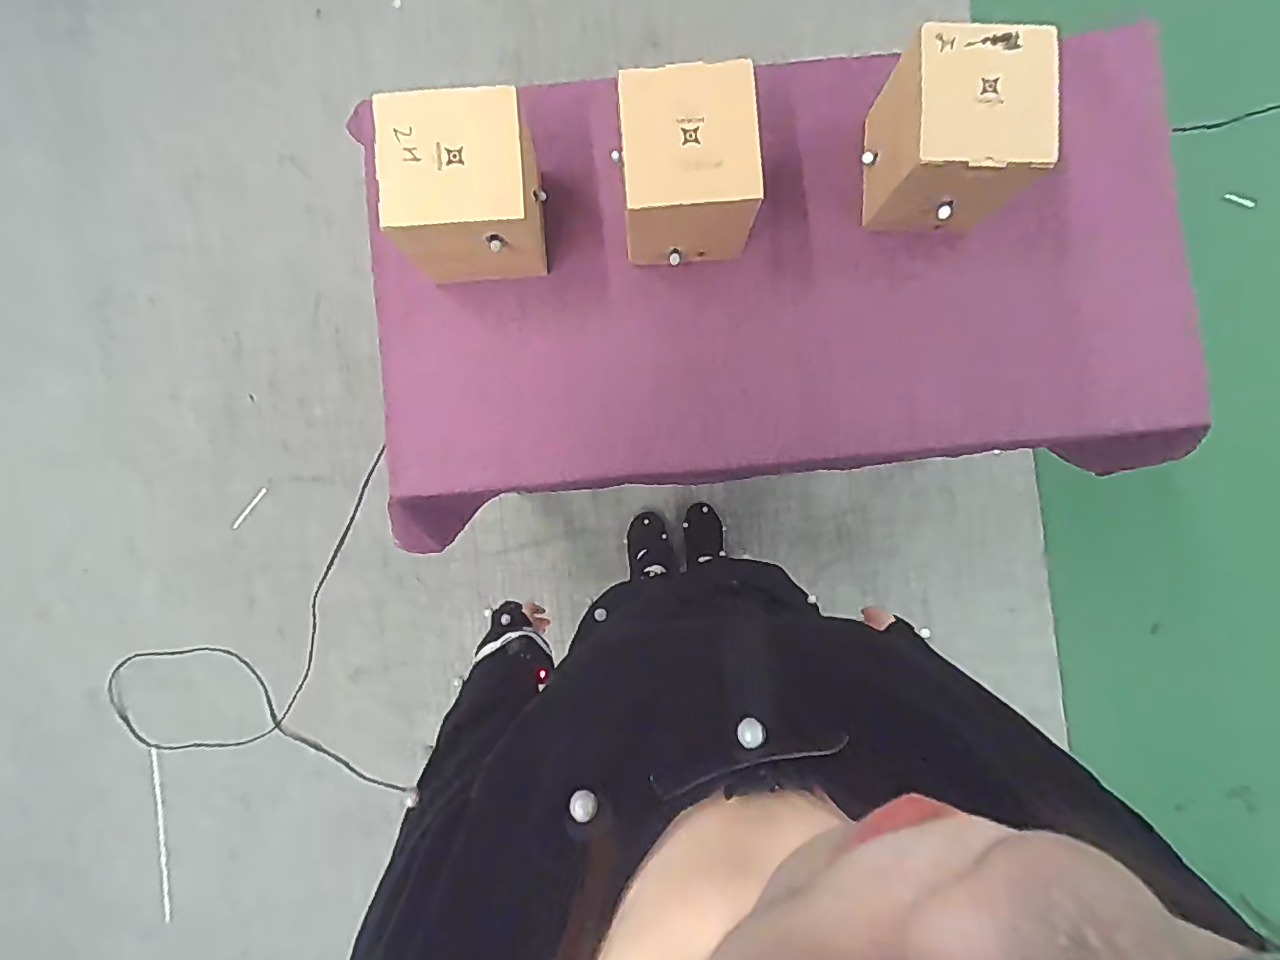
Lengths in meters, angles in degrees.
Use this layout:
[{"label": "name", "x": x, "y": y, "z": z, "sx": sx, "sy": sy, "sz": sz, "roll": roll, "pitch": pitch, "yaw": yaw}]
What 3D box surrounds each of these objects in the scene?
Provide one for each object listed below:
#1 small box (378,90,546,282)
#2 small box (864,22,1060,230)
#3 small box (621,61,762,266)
[{"label": "small box", "x": -0.225, "y": -0.382, "z": 0.729, "sx": 0.179, "sy": 0.176, "sz": 0.168, "roll": -4, "pitch": 87, "yaw": 0}, {"label": "small box", "x": 0.415, "y": -0.457, "z": 0.724, "sx": 0.168, "sy": 0.176, "sz": 0.179, "roll": 2, "pitch": 88, "yaw": 0}, {"label": "small box", "x": 0.061, "y": -0.412, "z": 0.729, "sx": 0.168, "sy": 0.176, "sz": 0.179, "roll": -4, "pitch": 88, "yaw": 1}]
